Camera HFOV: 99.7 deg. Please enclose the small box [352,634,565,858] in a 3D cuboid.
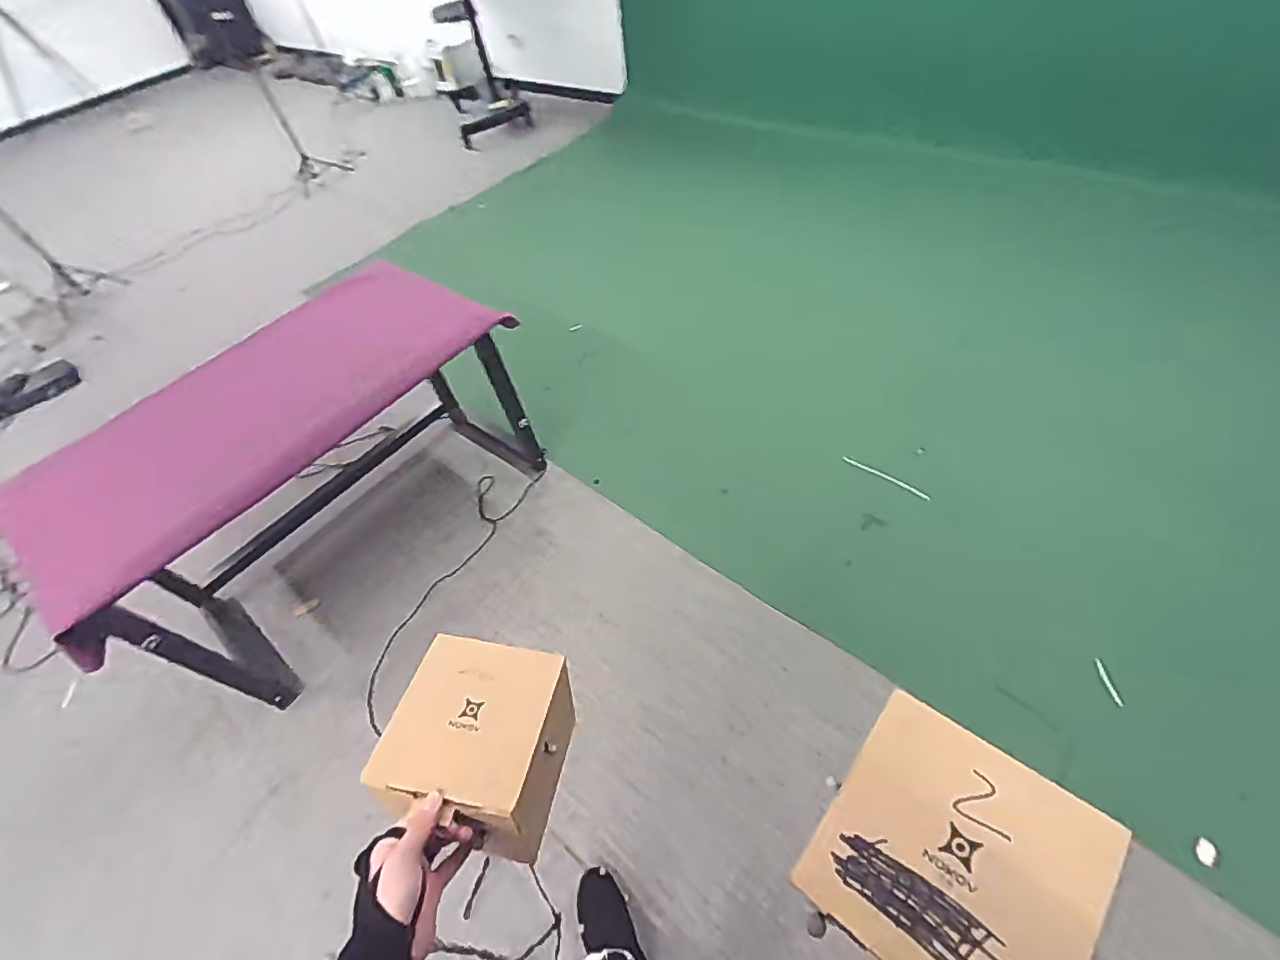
[{"bbox_3d":[-0.194,0.316,0.642,0.168,0.176,0.179,7,41,8],"label":"small box"}]
